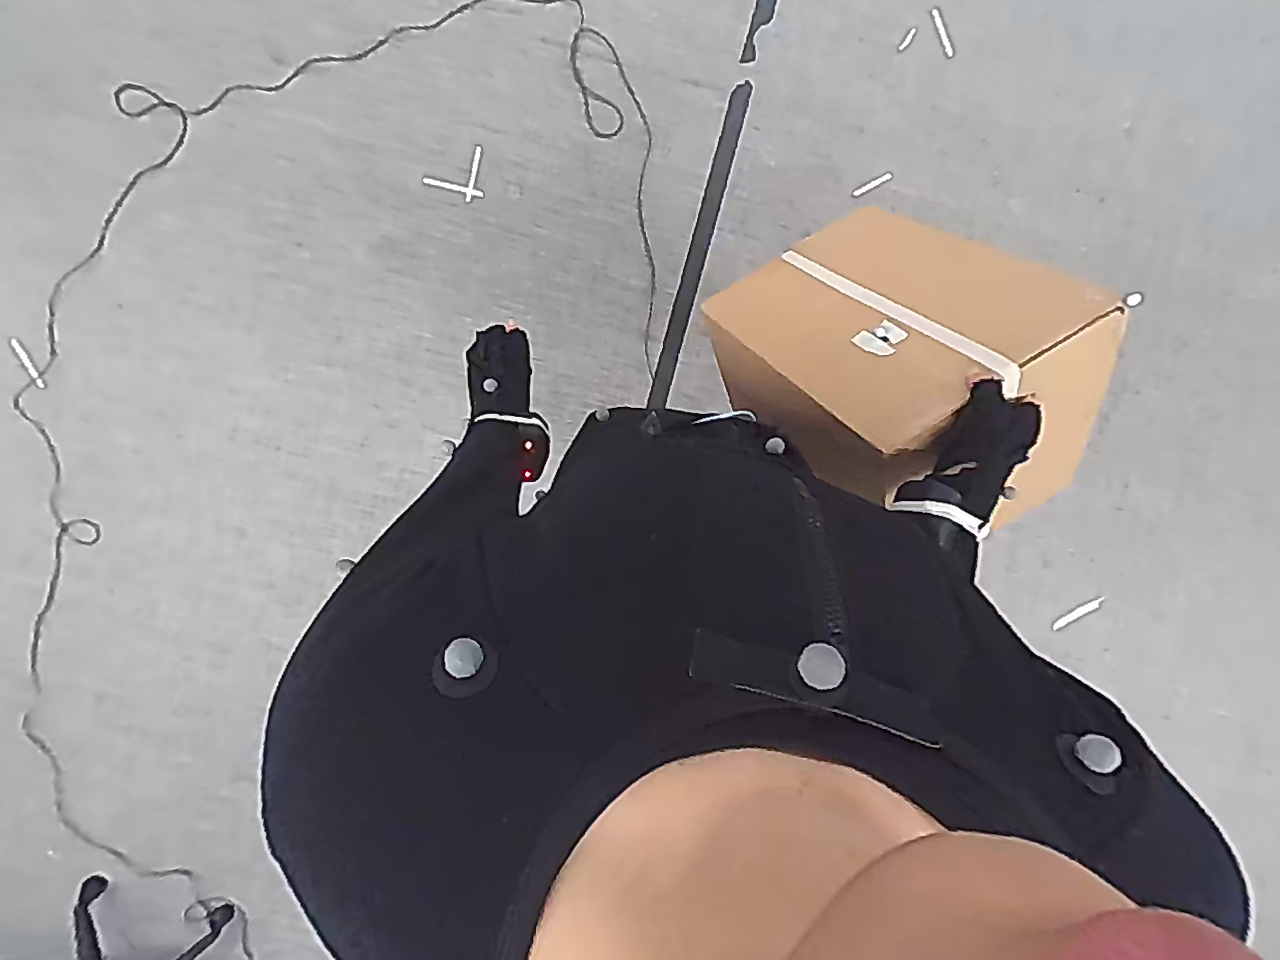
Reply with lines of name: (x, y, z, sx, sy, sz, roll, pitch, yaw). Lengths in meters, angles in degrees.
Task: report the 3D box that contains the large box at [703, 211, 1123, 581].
large box: (0.350, -0.135, 0.807, 0.320, 0.408, 0.320, -31, 137, -2)
